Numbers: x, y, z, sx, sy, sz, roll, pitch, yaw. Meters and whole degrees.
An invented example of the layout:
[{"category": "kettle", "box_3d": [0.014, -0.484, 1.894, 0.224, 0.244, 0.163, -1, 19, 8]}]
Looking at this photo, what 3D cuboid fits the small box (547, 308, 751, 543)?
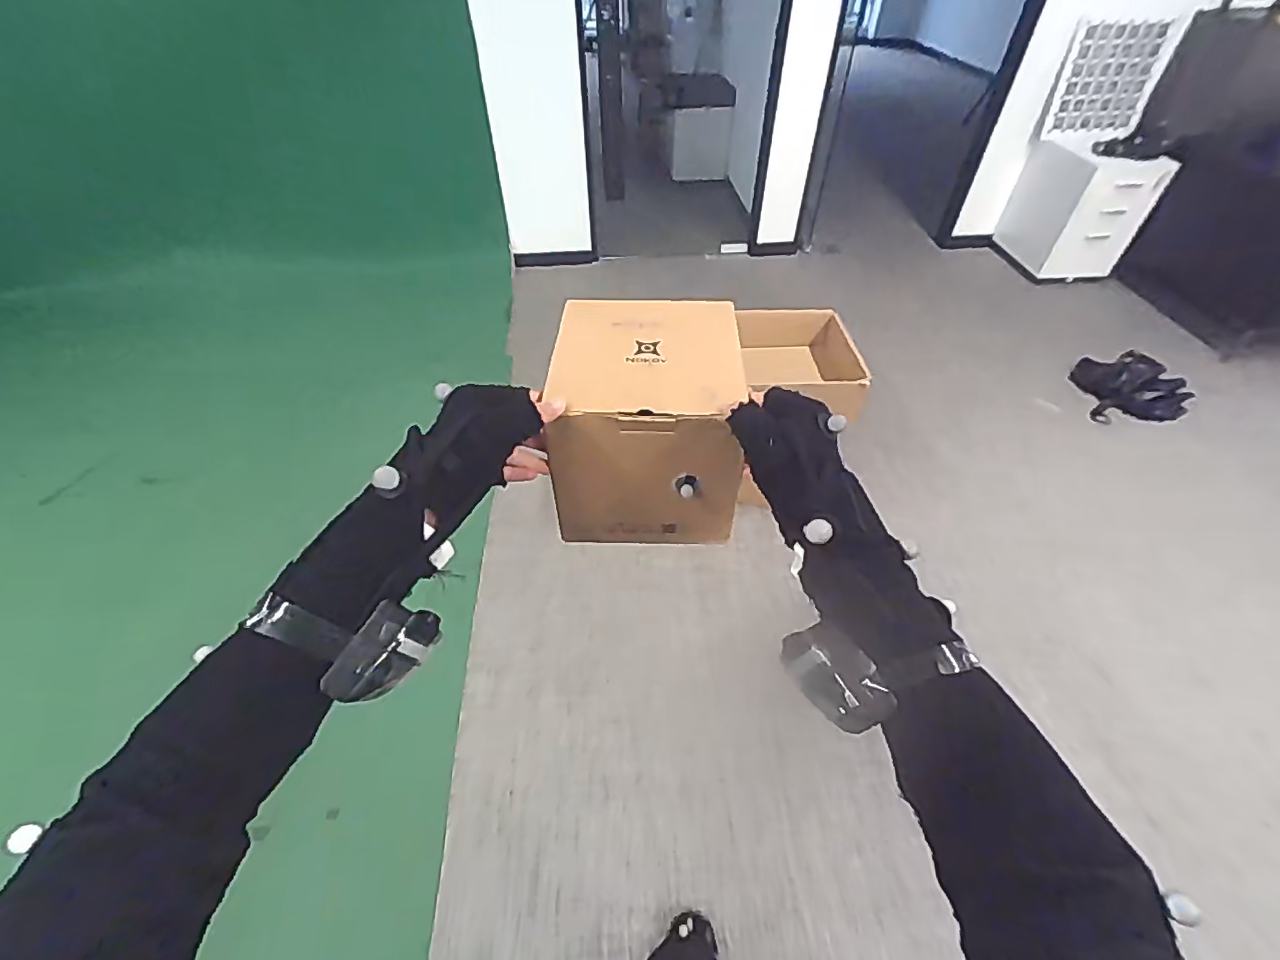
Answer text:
[{"category": "small box", "box_3d": [0.011, -0.053, 0.539, 0.168, 0.176, 0.179, 1, 45, 1]}]
